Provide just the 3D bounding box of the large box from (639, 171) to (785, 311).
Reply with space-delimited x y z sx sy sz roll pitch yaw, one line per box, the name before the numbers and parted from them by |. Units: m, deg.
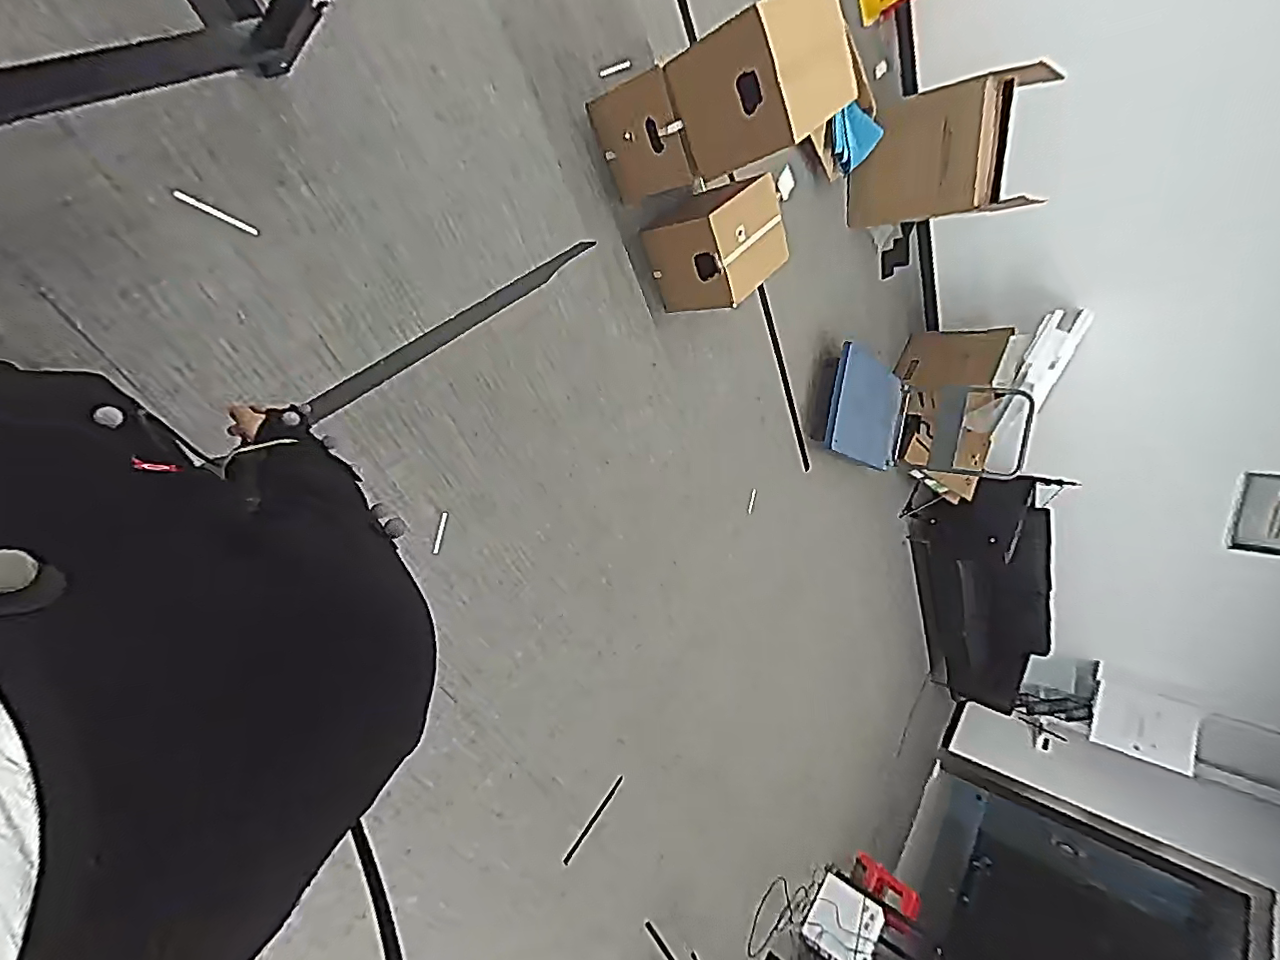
large box | 0.268 -0.854 1.960 0.408 0.320 0.320 -47 127 -28
